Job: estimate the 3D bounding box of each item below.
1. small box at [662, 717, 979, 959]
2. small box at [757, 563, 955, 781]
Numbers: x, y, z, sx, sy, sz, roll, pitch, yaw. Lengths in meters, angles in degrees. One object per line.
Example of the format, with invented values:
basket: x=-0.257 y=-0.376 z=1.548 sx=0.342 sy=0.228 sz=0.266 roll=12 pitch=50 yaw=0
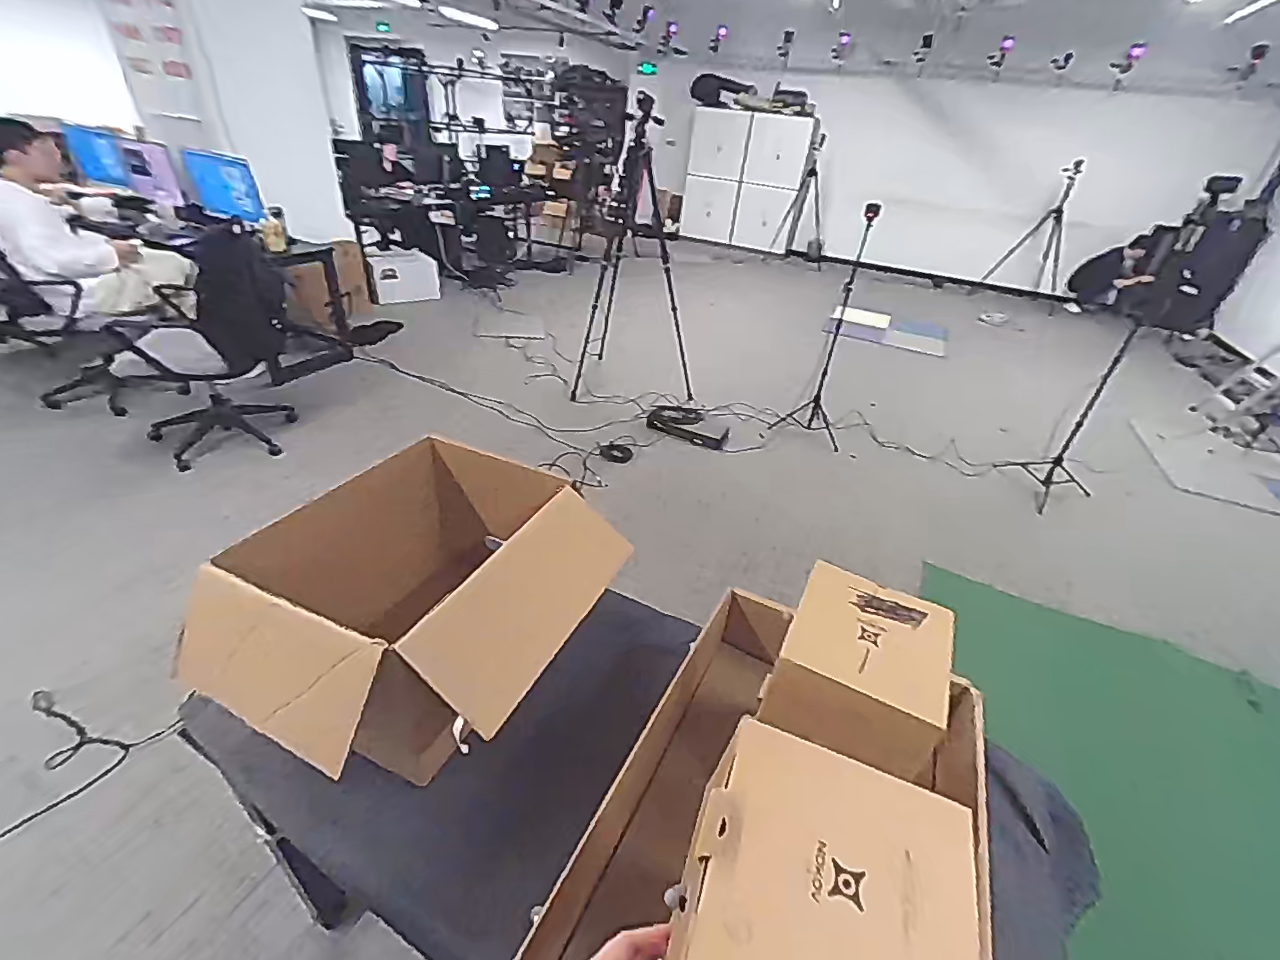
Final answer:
small box: x=0.125 y=0.321 z=0.412 sx=0.179 sy=0.176 sz=0.168 roll=18 pitch=46 yaw=11
small box: x=0.252 y=0.238 z=0.646 sx=0.168 sy=0.176 sz=0.179 roll=20 pitch=37 yaw=21
